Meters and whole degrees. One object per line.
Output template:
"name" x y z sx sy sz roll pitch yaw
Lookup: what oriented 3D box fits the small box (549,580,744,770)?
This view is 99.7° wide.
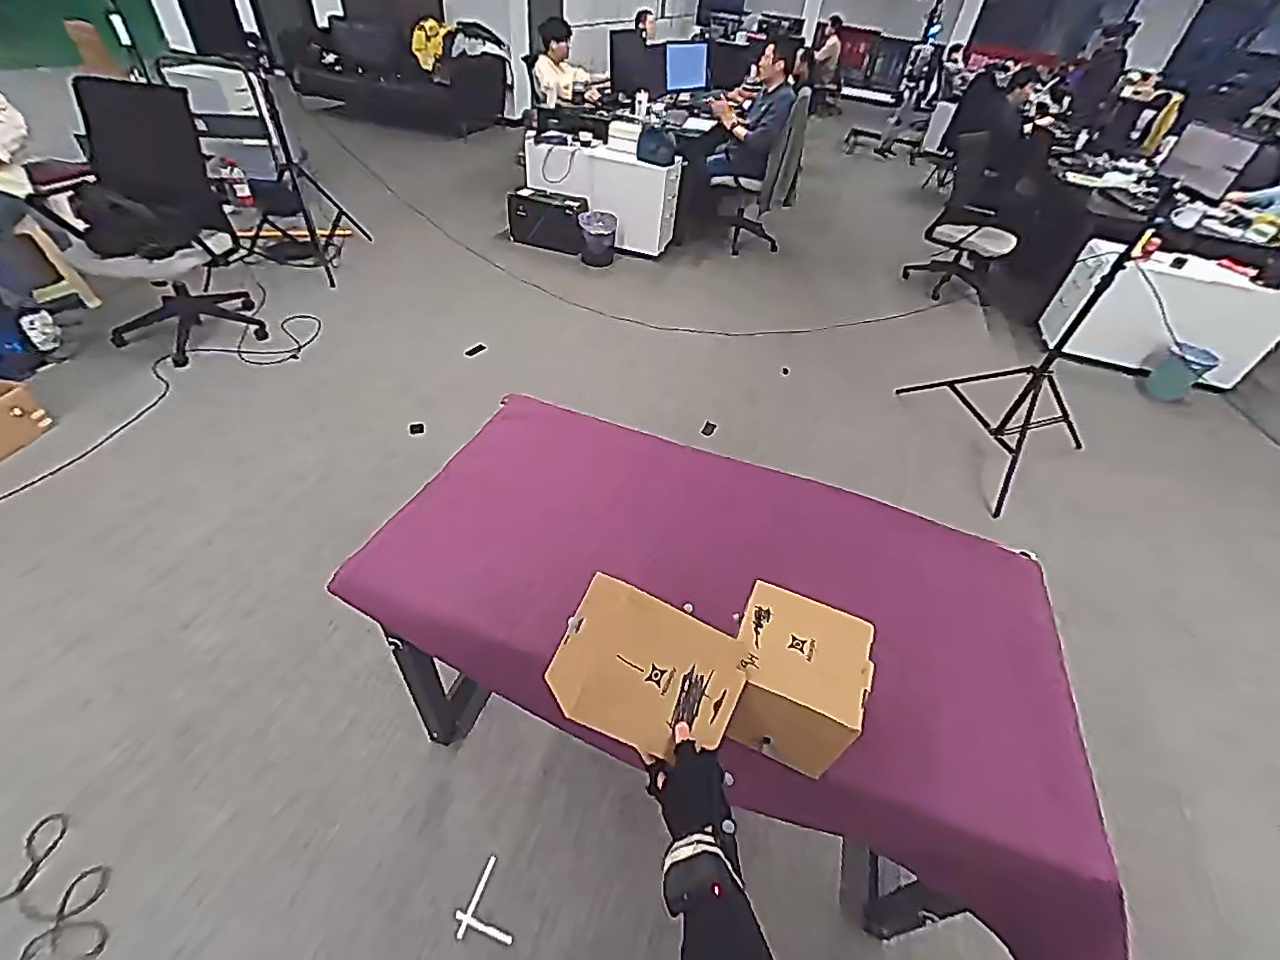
"small box" 0.000 0.243 0.719 0.179 0.176 0.168 30 76 -14

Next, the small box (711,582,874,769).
"small box" 0.212 0.287 0.784 0.179 0.176 0.168 21 44 13
